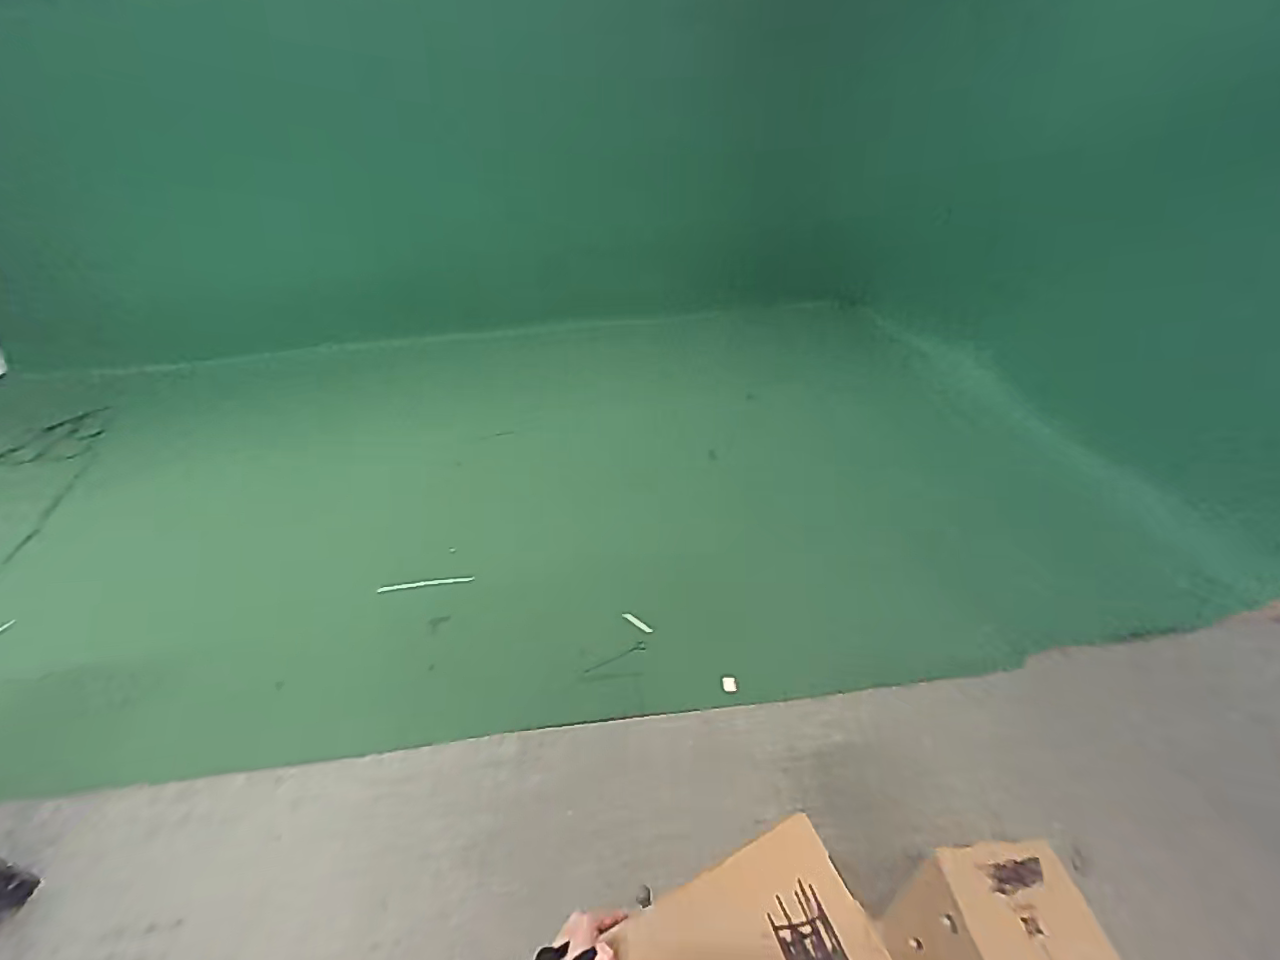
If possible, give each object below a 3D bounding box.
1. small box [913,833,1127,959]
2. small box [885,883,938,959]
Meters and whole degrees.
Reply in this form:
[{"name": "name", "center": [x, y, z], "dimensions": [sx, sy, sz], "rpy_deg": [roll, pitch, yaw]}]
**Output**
[{"name": "small box", "center": [0.507, 0.621, 0.741], "dimensions": [0.168, 0.176, 0.179], "rpy_deg": [-5, 36, -2]}, {"name": "small box", "center": [0.517, 0.750, 0.845], "dimensions": [0.179, 0.176, 0.168], "rpy_deg": [-4, 37, -2]}]
